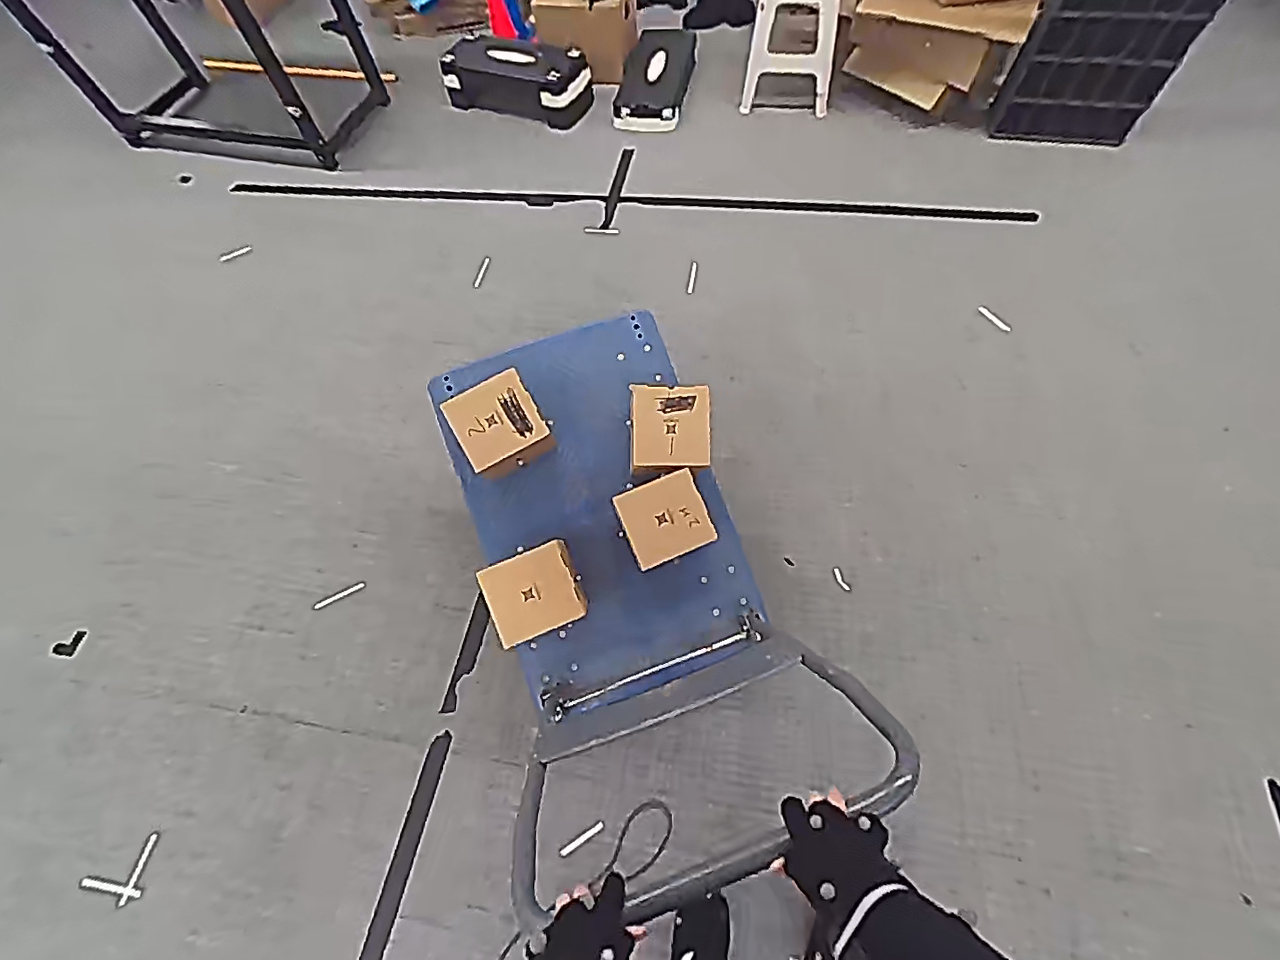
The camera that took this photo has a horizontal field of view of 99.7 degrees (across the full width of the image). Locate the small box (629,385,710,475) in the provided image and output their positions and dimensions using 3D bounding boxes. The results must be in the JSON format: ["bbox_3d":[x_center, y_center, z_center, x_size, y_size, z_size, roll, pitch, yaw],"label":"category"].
[{"bbox_3d":[0.061,-0.108,1.225,0.168,0.176,0.179,-1,84,-3],"label":"small box"}]

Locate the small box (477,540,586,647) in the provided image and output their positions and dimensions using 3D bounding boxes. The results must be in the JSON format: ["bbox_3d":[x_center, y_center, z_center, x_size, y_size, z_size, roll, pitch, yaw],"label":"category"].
[{"bbox_3d":[-0.225,0.240,1.170,0.179,0.176,0.168,-23,85,-7],"label":"small box"}]

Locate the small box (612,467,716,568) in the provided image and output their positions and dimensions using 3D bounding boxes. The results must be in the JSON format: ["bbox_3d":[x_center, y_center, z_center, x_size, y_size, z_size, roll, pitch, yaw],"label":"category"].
[{"bbox_3d":[0.048,0.087,1.201,0.179,0.176,0.168,-23,85,-5],"label":"small box"}]
